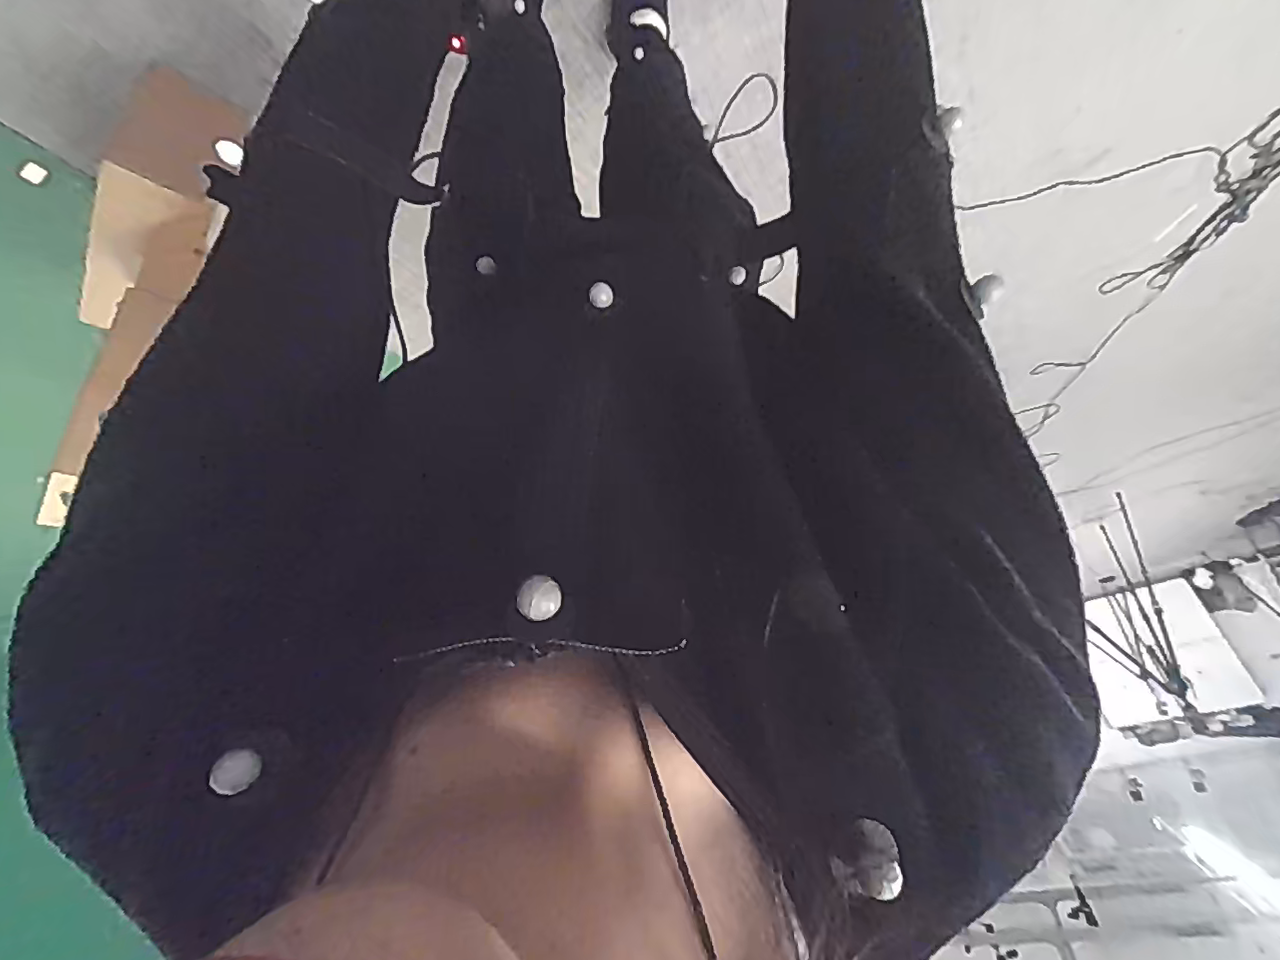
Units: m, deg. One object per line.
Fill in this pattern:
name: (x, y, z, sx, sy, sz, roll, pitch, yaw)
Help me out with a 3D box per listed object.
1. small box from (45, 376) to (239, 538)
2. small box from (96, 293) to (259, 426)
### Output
small box: (-0.737, -0.029, 0.814, 0.168, 0.176, 0.179, -32, 147, 32)
small box: (-0.762, -0.172, 0.892, 0.168, 0.176, 0.179, -31, 147, 31)
